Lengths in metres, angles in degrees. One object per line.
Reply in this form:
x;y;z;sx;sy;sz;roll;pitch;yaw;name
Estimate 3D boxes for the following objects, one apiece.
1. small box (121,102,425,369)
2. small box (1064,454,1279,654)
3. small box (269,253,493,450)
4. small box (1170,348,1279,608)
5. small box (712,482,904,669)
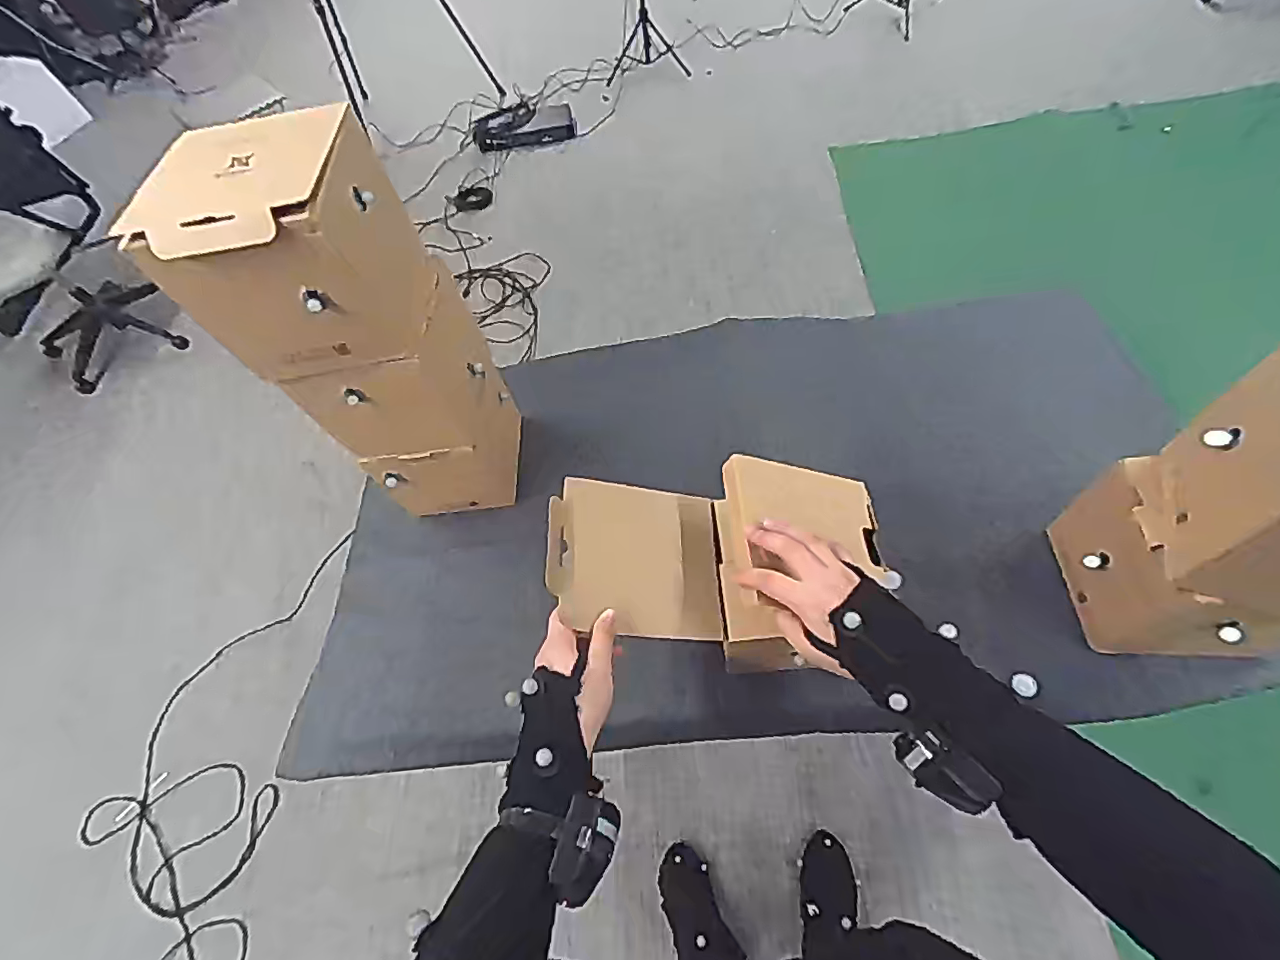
-0.332;-0.228;0.536;0.168;0.176;0.179;-9;59;3;small box
0.606;0.085;0.587;0.179;0.176;0.168;-1;58;9;small box
-0.304;-0.150;0.676;0.179;0.176;0.168;-6;61;5;small box
0.587;0.012;0.441;0.179;0.176;0.168;18;62;19;small box
0.181;0.120;0.638;0.179;0.176;0.168;-7;59;8;small box
